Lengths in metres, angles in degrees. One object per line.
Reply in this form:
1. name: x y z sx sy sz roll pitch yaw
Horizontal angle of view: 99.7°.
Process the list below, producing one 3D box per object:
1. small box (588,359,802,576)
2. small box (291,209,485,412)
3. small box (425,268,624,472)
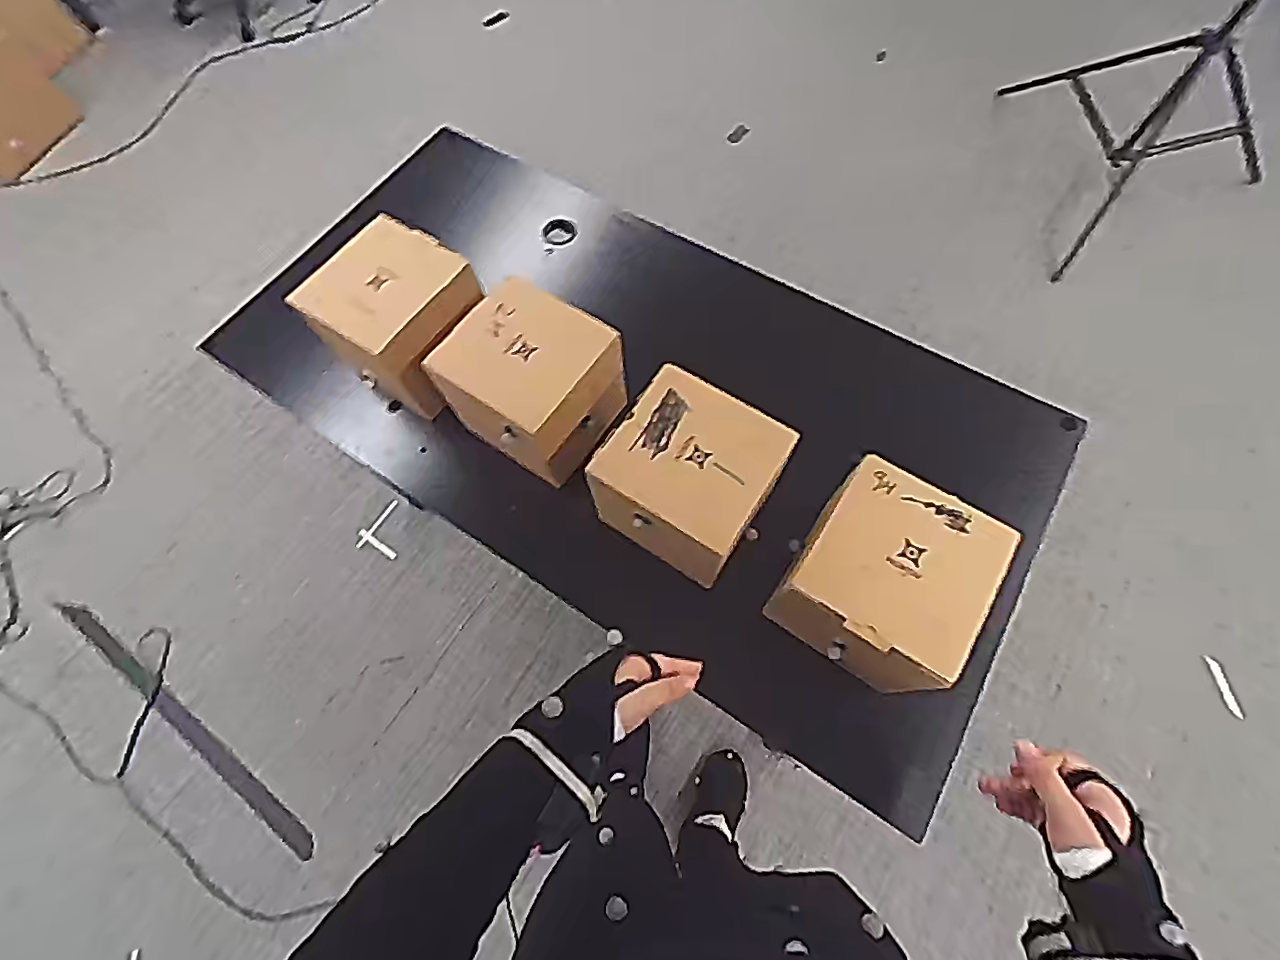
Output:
1. small box: 0.061 -0.005 0.651 0.179 0.176 0.168 32 73 14
2. small box: -0.325 -0.231 0.761 0.168 0.176 0.179 30 73 15
3. small box: -0.135 -0.132 0.711 0.179 0.176 0.168 32 72 14
